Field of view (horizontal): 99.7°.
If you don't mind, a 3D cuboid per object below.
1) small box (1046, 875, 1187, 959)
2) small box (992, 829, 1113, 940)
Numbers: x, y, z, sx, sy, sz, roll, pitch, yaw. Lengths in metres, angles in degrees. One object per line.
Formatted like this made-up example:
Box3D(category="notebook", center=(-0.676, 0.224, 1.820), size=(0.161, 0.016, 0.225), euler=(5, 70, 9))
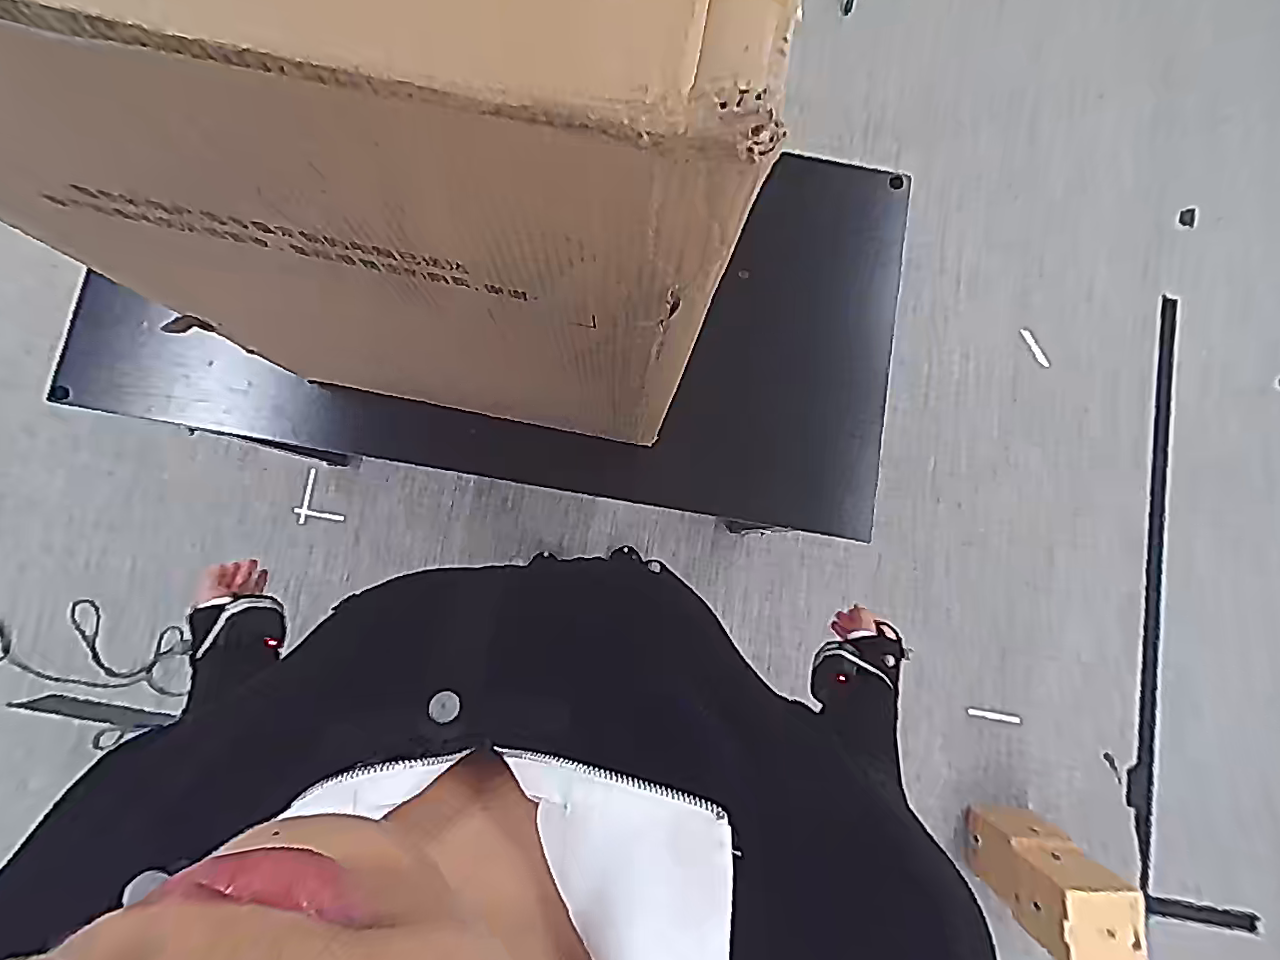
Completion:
Box3D(category="small box", center=(1.012, 0.987, 1.162), size=(0.179, 0.176, 0.168), euler=(3, 83, -2))
Box3D(category="small box", center=(1.006, 0.987, 1.327), size=(0.179, 0.176, 0.168), euler=(4, 83, -2))
